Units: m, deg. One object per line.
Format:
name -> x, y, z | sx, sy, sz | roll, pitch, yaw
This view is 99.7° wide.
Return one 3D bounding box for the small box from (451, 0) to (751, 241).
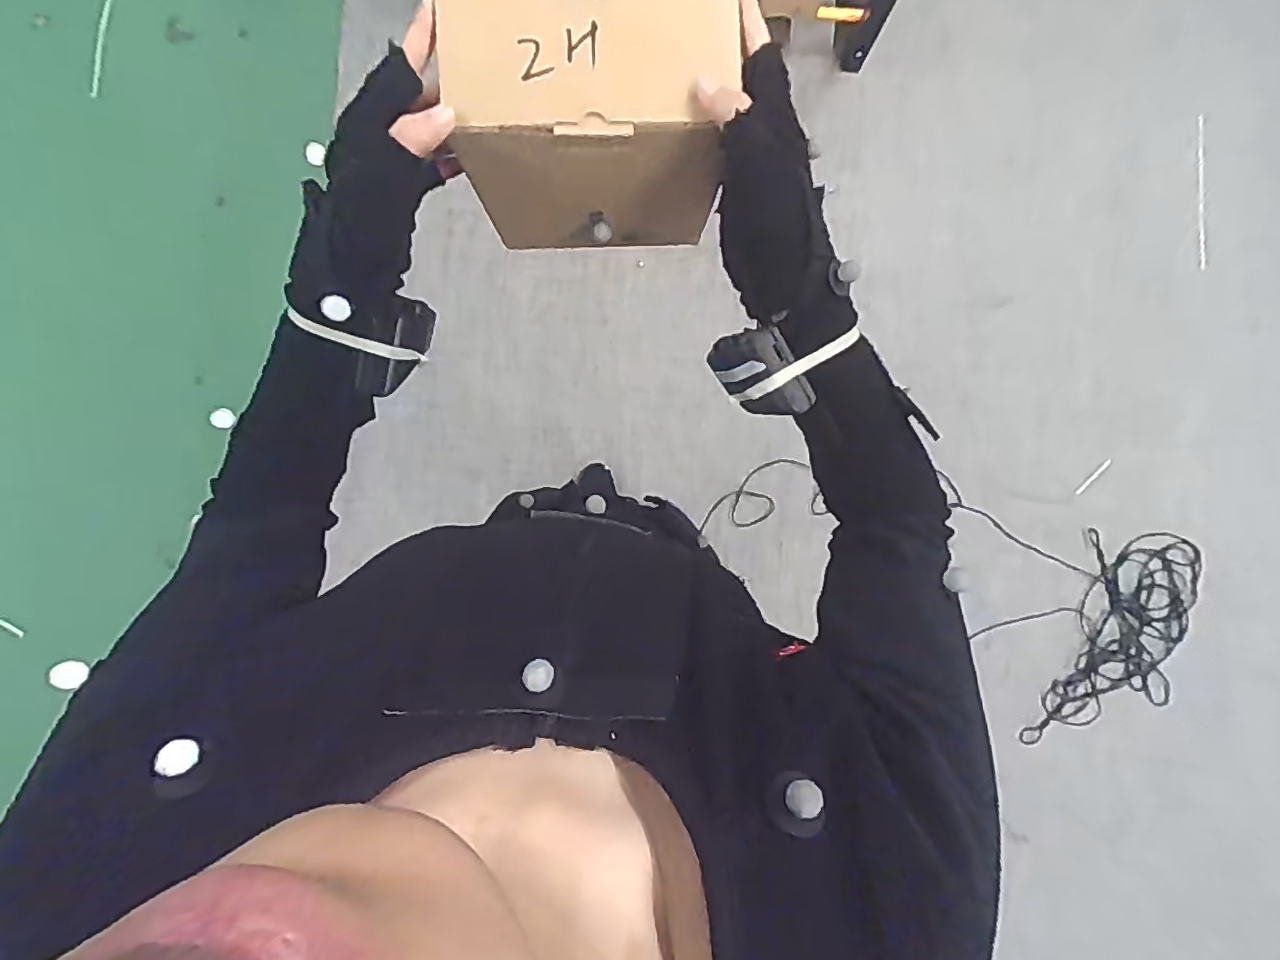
small box -> -0.025, -0.290, 0.376 | 0.168, 0.176, 0.179 | -2, 91, -2
